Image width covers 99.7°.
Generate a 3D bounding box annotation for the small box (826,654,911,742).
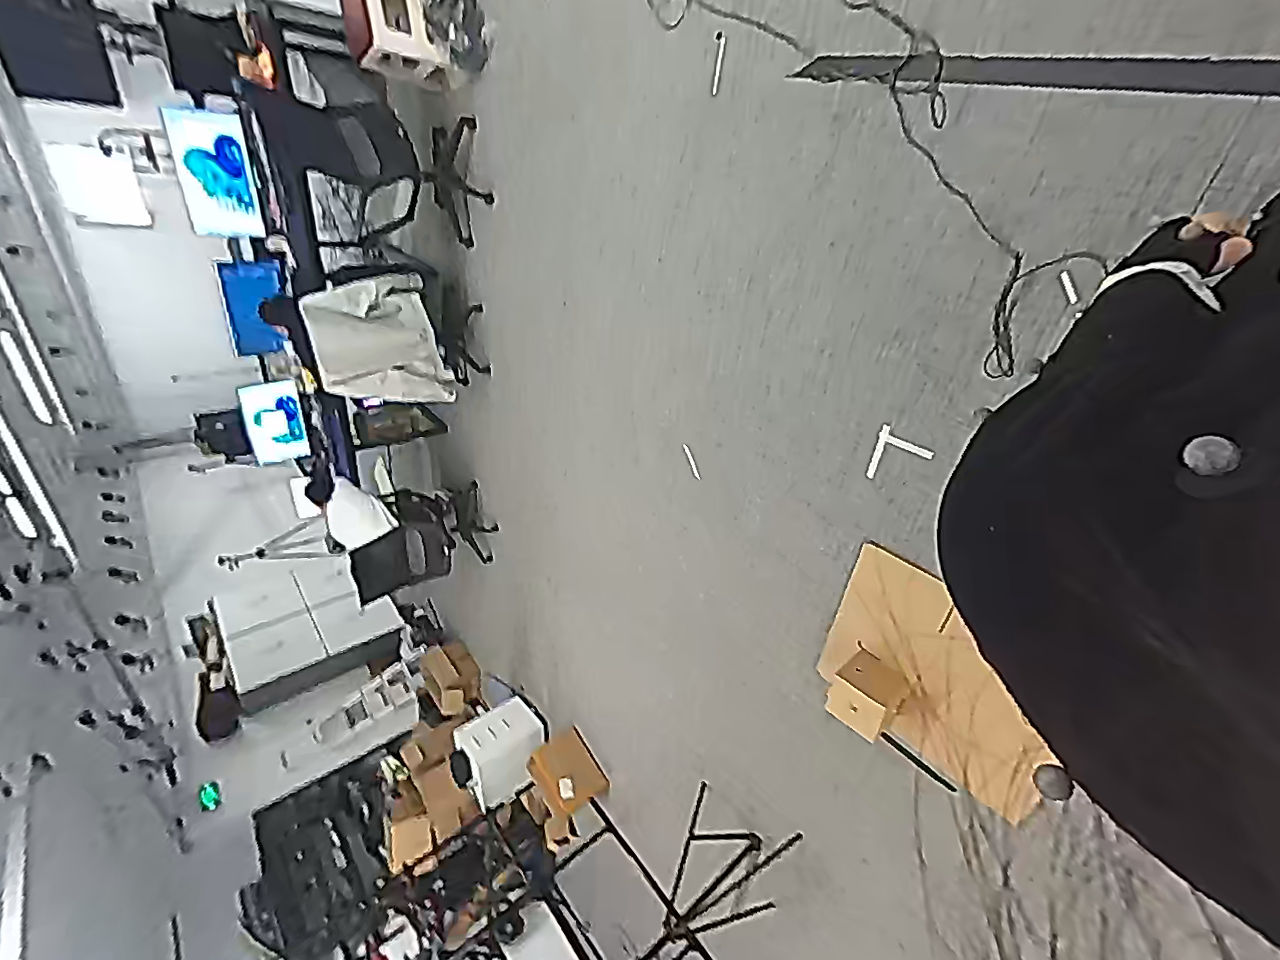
[{"bbox_3d":[0.739,0.693,1.750,0.179,0.176,0.168,29,128,40],"label":"small box"}]
